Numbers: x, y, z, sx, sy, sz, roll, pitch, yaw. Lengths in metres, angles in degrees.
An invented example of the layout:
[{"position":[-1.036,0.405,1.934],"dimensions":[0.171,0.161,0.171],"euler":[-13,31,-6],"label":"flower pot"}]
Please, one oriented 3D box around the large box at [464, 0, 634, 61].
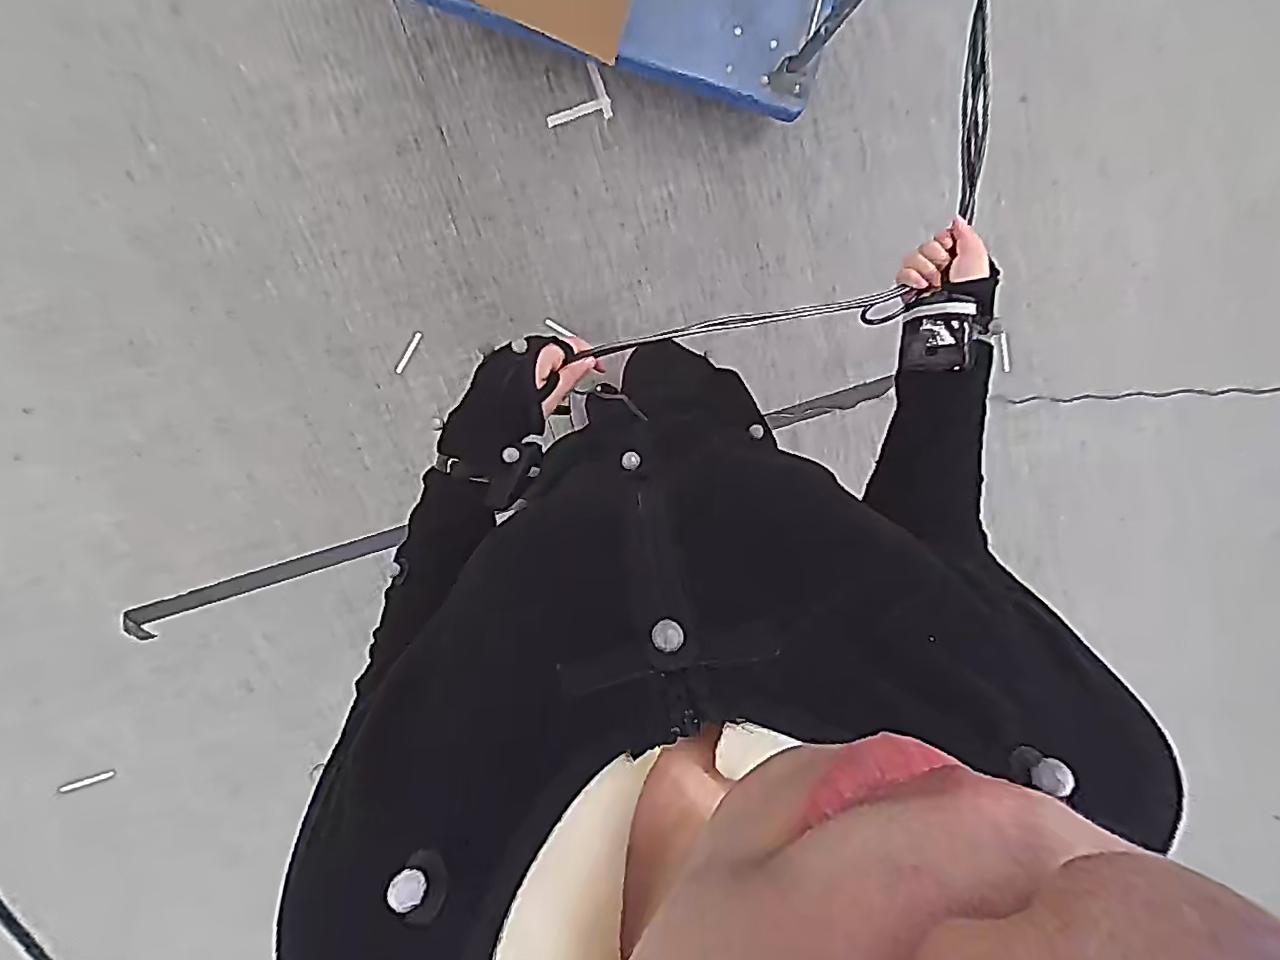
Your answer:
[{"position":[-0.177,-1.016,0.909],"dimensions":[0.408,0.320,0.320],"euler":[18,100,-9],"label":"large box"}]
